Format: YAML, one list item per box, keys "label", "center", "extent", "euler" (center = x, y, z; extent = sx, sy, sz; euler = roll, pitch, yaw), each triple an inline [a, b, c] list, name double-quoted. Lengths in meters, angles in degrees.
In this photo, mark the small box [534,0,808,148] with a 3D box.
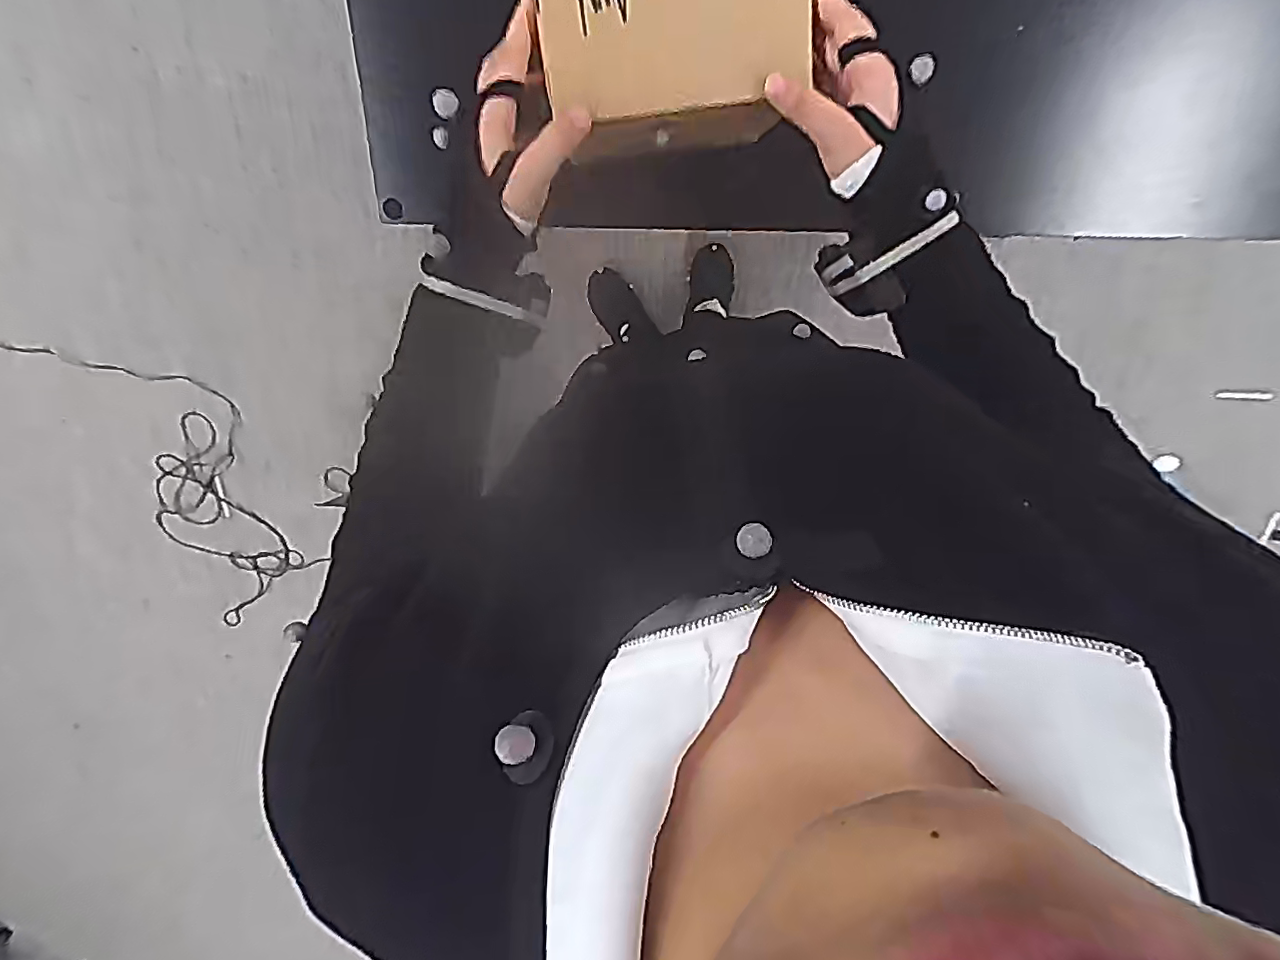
- label: "small box"
  center: [0.014, -0.362, 0.403]
  extent: [0.179, 0.176, 0.168]
  euler: [-7, 115, 0]
